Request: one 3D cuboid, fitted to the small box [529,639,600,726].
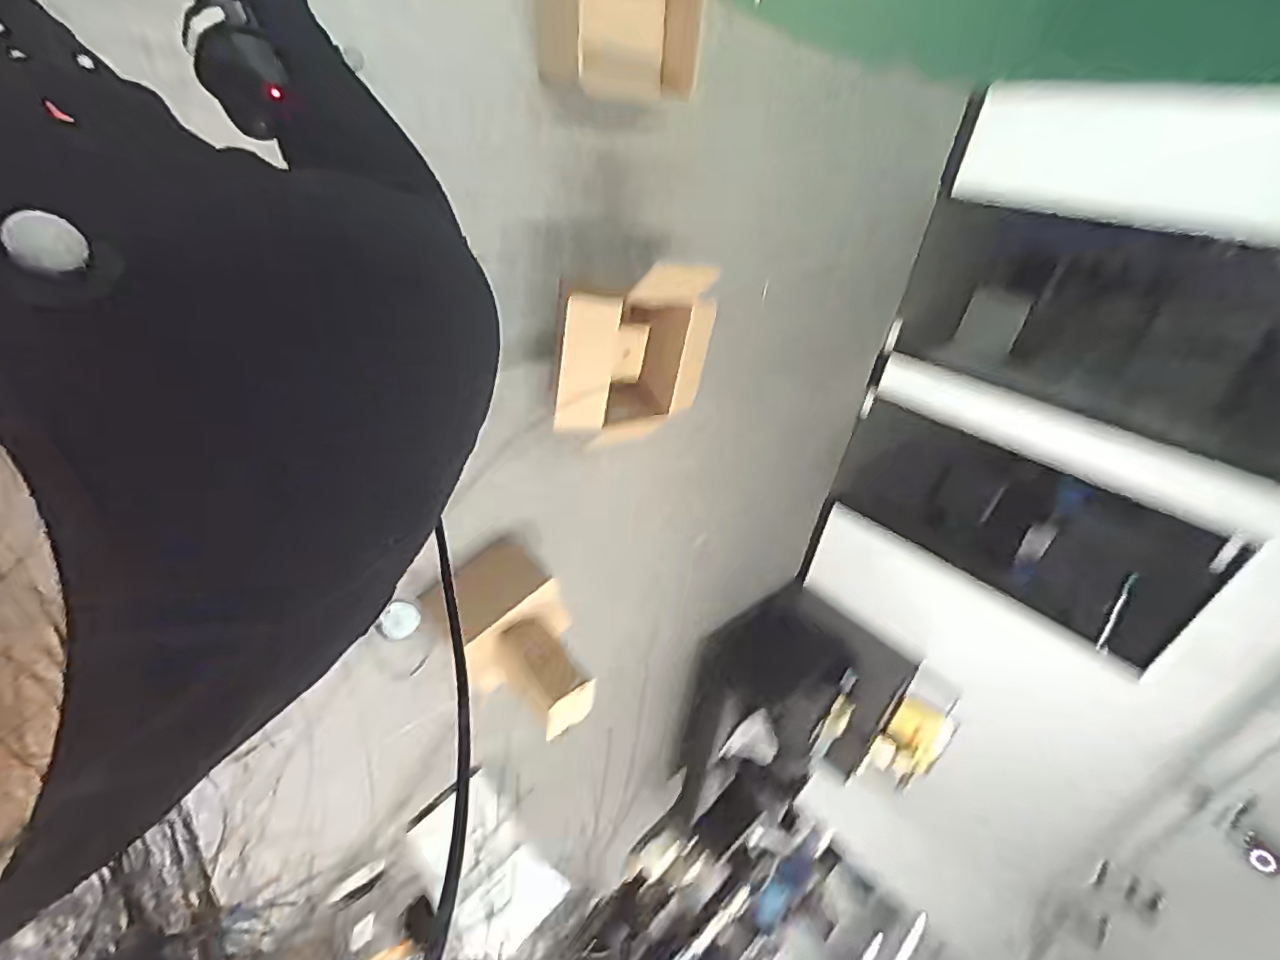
[{"bbox_3d":[-0.255,0.665,1.793,0.168,0.176,0.179,-20,133,-39],"label":"small box"}]
